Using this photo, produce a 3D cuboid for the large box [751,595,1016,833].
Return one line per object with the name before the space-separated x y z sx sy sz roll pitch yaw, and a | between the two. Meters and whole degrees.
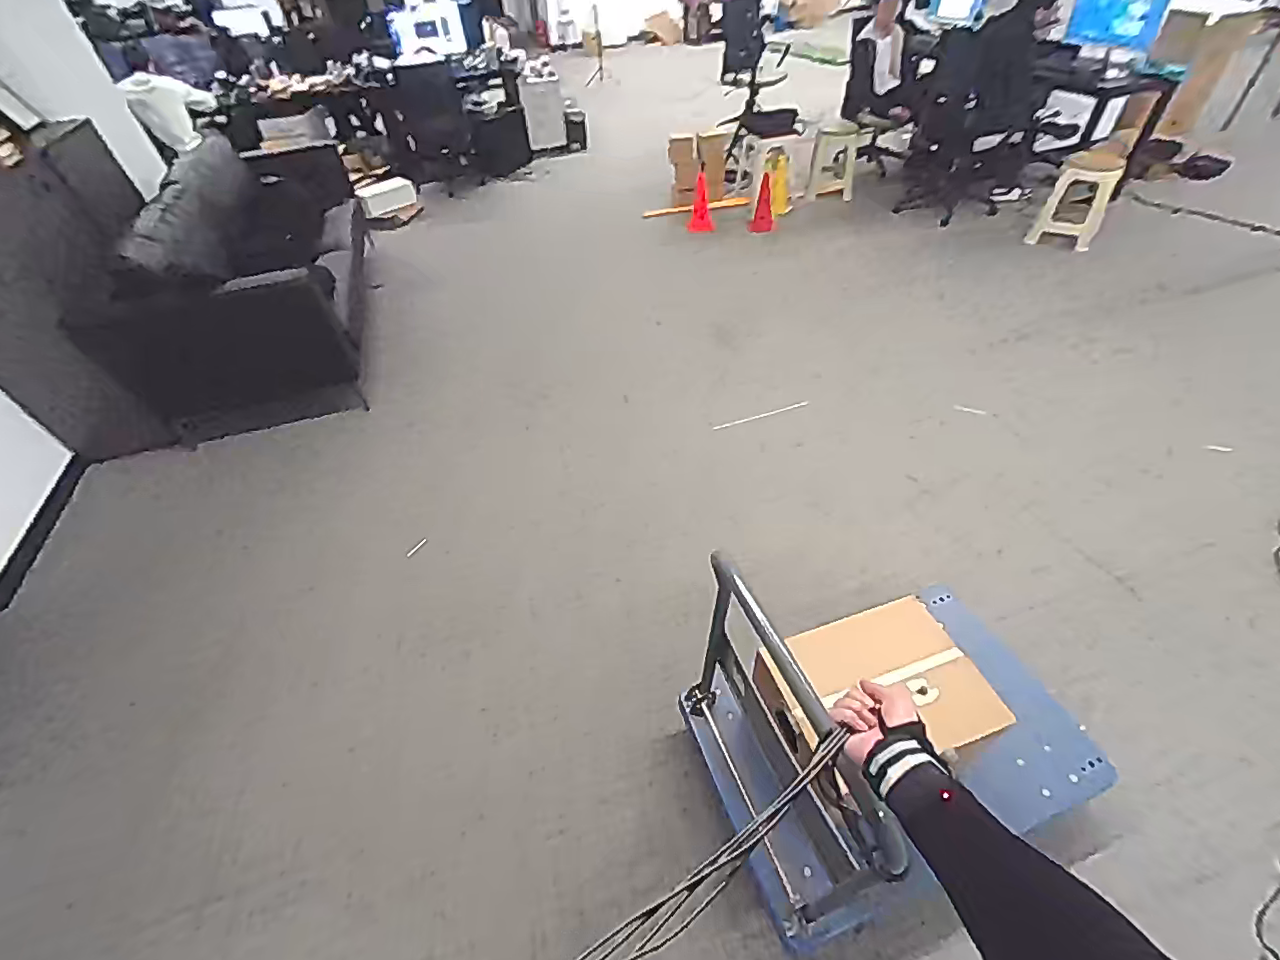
large box | 0.508 0.523 1.220 0.408 0.320 0.320 -15 47 -11
